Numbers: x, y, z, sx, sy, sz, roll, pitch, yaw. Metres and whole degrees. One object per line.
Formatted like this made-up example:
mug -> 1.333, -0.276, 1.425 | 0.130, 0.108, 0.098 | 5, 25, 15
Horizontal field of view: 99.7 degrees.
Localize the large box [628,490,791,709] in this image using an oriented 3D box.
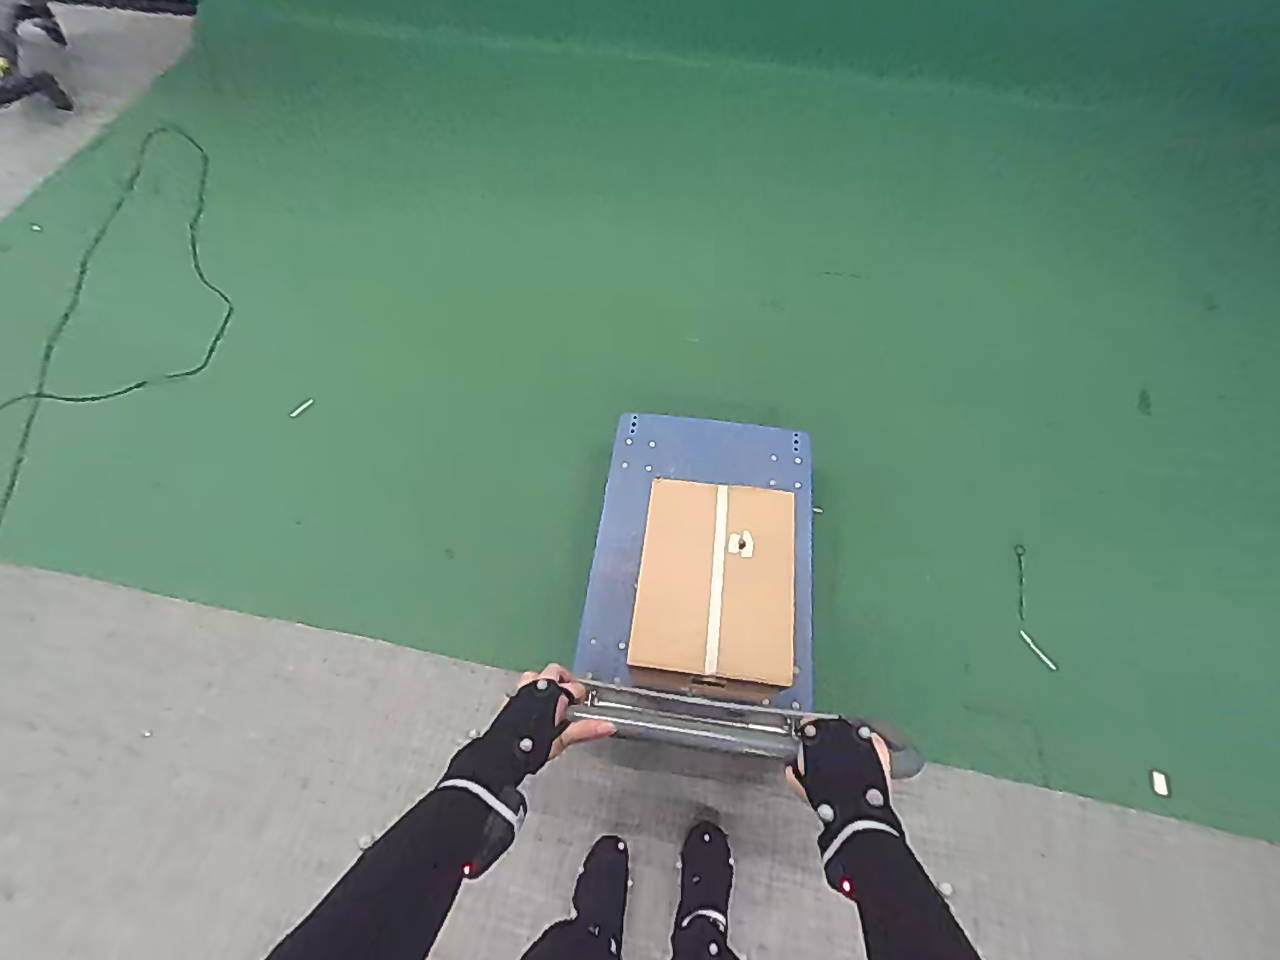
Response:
large box -> 0.157, 0.281, 1.238 | 0.320, 0.320, 0.408 | 6, 62, 5
